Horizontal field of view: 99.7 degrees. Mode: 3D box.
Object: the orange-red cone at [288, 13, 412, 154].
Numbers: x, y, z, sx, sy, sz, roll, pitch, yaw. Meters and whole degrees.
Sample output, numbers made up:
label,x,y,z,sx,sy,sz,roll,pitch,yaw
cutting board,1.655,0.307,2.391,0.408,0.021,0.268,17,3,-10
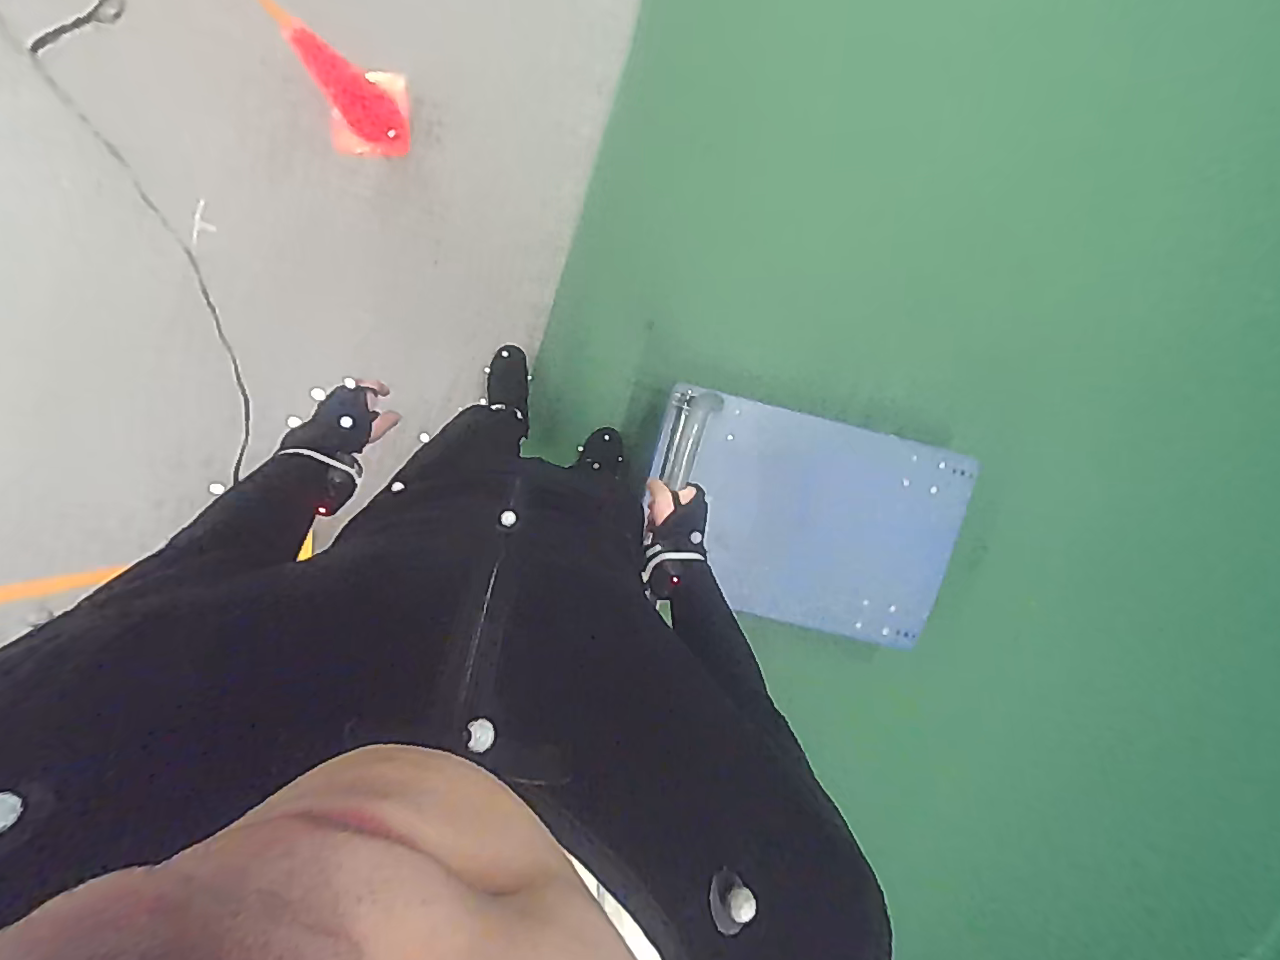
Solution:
label,x,y,z,sx,sy,sz,roll,pitch,yaw
orange-red cone,-0.705,-0.959,1.272,0.198,0.360,0.199,4,98,-2
